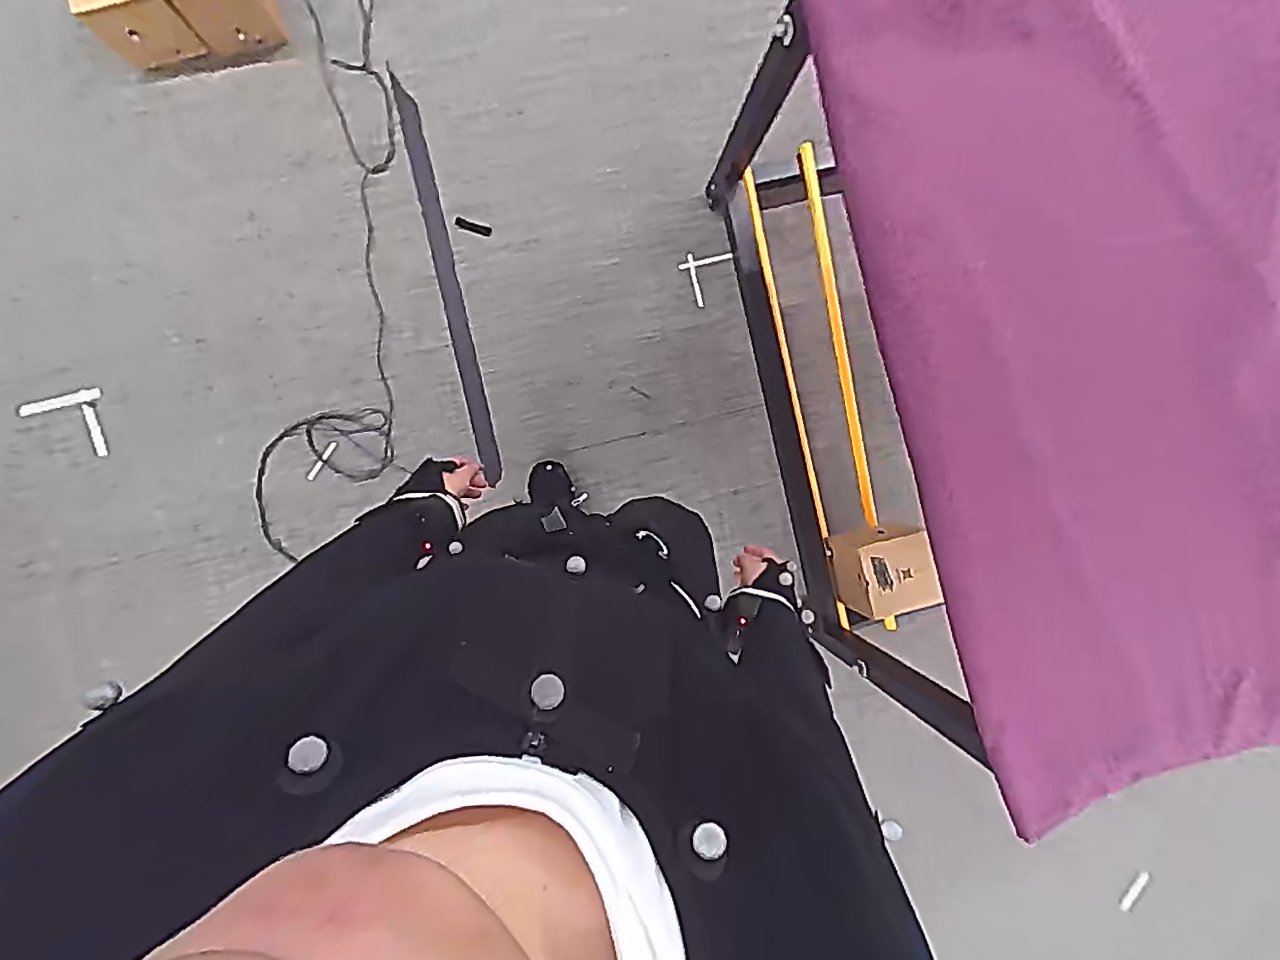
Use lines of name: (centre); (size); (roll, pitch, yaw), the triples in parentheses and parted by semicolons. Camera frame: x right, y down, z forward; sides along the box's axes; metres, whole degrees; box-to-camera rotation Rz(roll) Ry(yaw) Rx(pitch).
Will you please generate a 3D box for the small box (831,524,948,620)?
small box: (0.557, 0.203, 1.235); (0.179, 0.176, 0.168); (-13, 92, -6)
